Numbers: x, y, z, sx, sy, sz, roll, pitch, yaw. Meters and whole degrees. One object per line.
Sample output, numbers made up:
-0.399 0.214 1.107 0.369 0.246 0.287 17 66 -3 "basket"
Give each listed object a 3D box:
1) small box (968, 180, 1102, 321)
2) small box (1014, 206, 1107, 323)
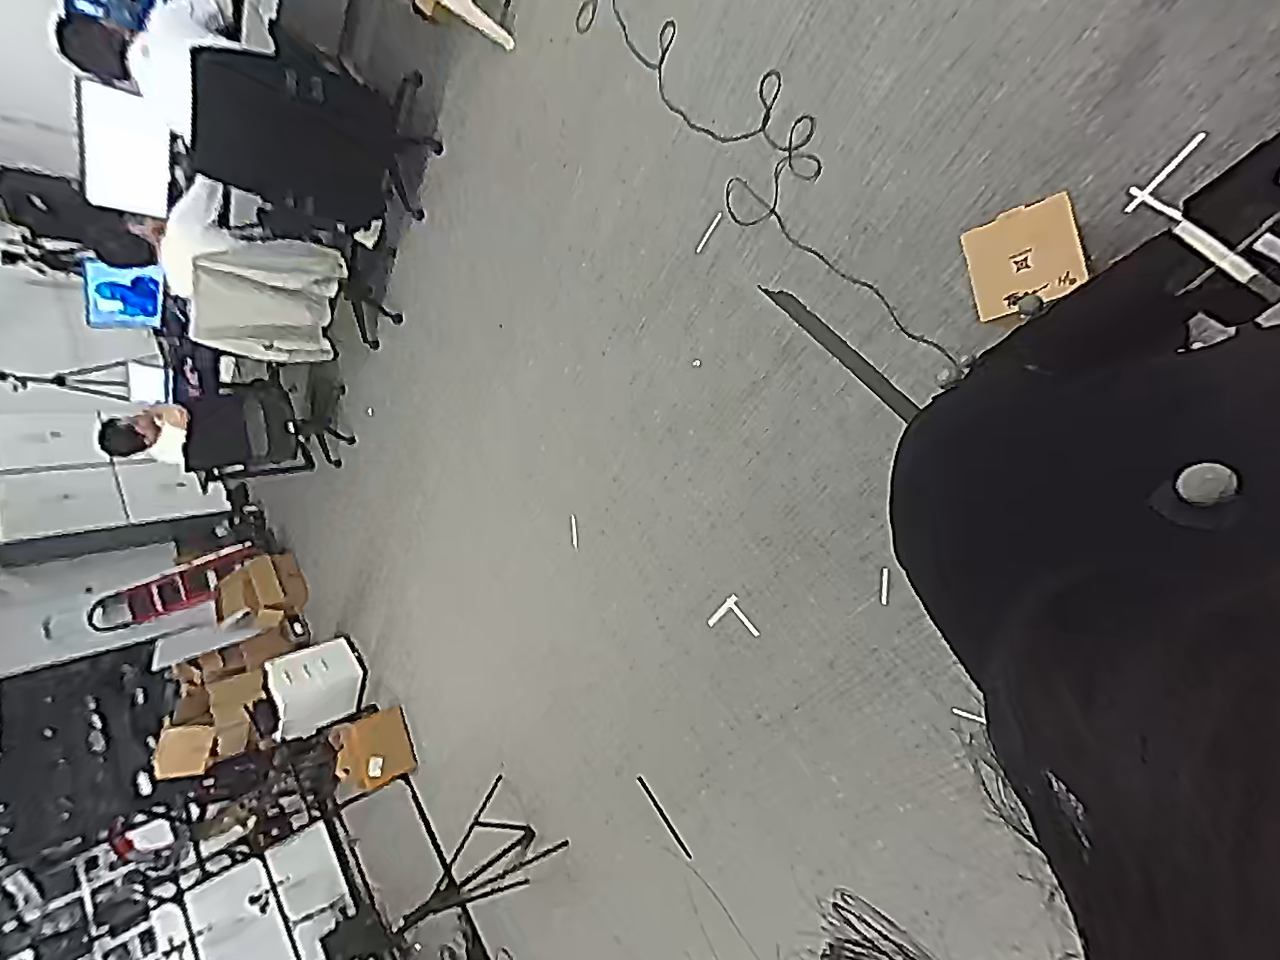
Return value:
0.737 -0.413 1.007 0.168 0.176 0.179 -14 89 43 "small box"
0.846 -0.442 1.127 0.168 0.176 0.179 -17 88 43 "small box"
